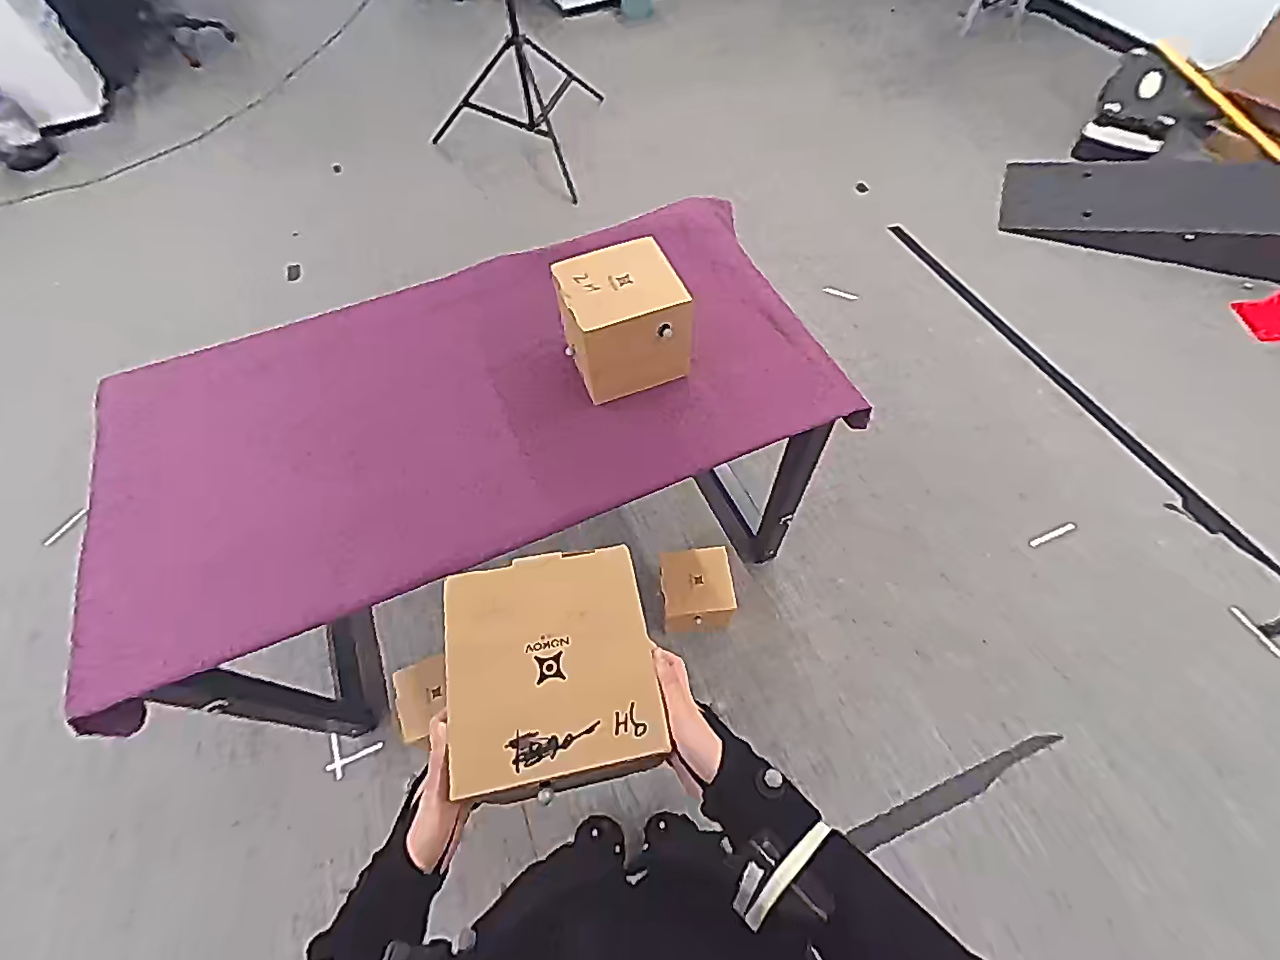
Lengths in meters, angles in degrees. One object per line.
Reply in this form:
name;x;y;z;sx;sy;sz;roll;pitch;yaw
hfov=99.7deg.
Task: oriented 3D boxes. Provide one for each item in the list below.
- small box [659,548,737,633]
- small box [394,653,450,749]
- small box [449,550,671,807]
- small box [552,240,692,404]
small box;0.143;0.292;1.411;0.179;0.176;0.168;-7;60;-1
small box;-0.463;0.531;1.302;0.179;0.176;0.168;-19;62;-9
small box;-0.074;0.188;0.505;0.168;0.176;0.179;-8;58;-7
small box;-0.027;-0.255;0.890;0.179;0.176;0.168;-20;60;-8
